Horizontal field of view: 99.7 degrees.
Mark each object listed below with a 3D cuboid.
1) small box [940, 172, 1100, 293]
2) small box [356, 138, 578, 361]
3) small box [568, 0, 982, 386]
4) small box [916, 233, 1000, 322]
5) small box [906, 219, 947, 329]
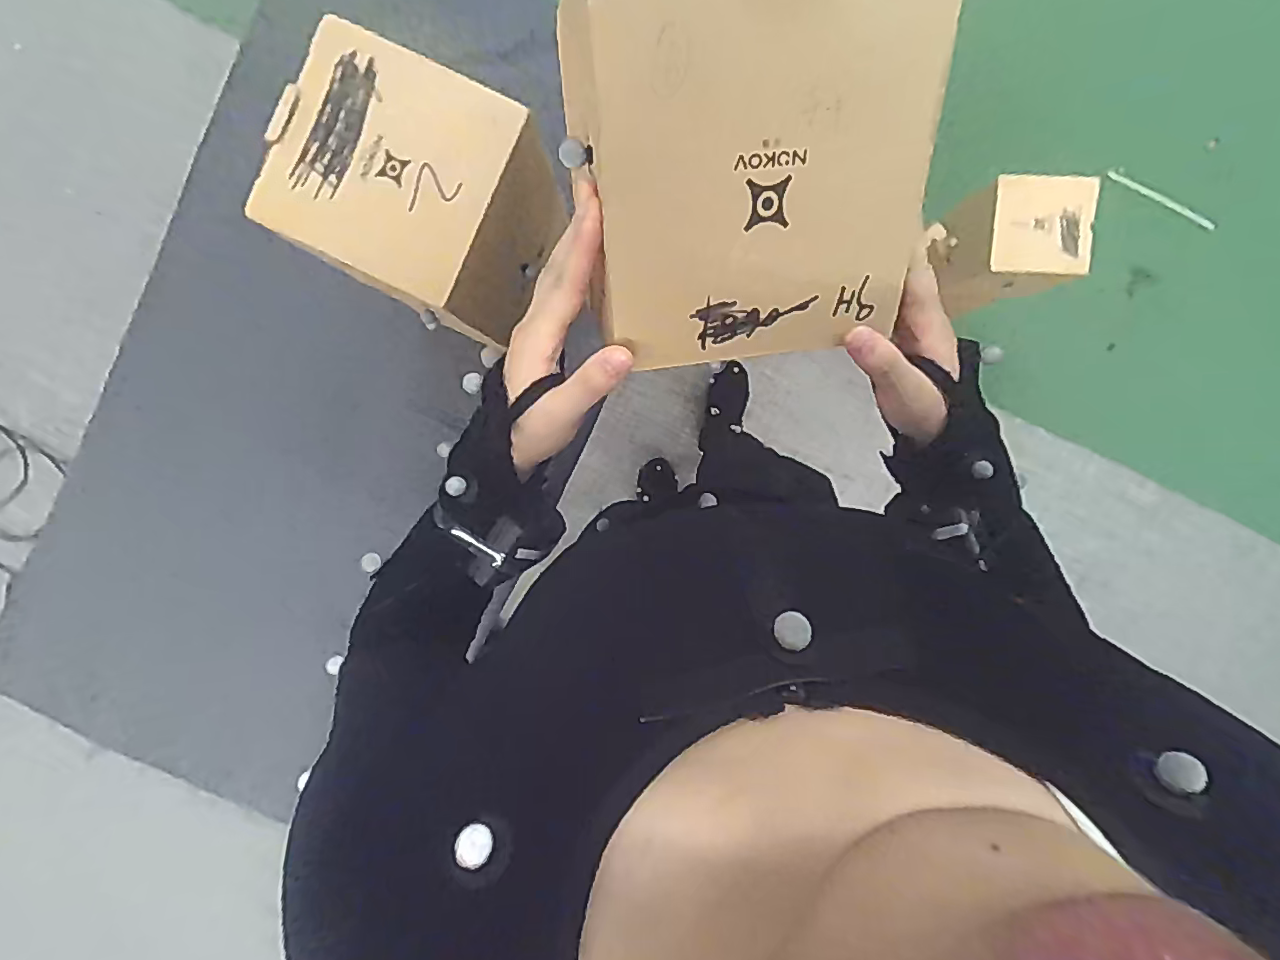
[{"bbox_3d":[0.706,-0.458,1.023,0.179,0.176,0.168,2,96,1],"label":"small box"},{"bbox_3d":[-0.190,-0.255,0.649,0.179,0.176,0.168,25,95,0],"label":"small box"},{"bbox_3d":[0.053,-0.176,0.324,0.168,0.176,0.179,-8,124,-8],"label":"small box"},{"bbox_3d":[0.716,-0.468,1.187,0.179,0.176,0.168,-28,95,2],"label":"small box"},{"bbox_3d":[0.693,-0.500,1.347,0.168,0.176,0.179,41,94,-3],"label":"small box"}]
